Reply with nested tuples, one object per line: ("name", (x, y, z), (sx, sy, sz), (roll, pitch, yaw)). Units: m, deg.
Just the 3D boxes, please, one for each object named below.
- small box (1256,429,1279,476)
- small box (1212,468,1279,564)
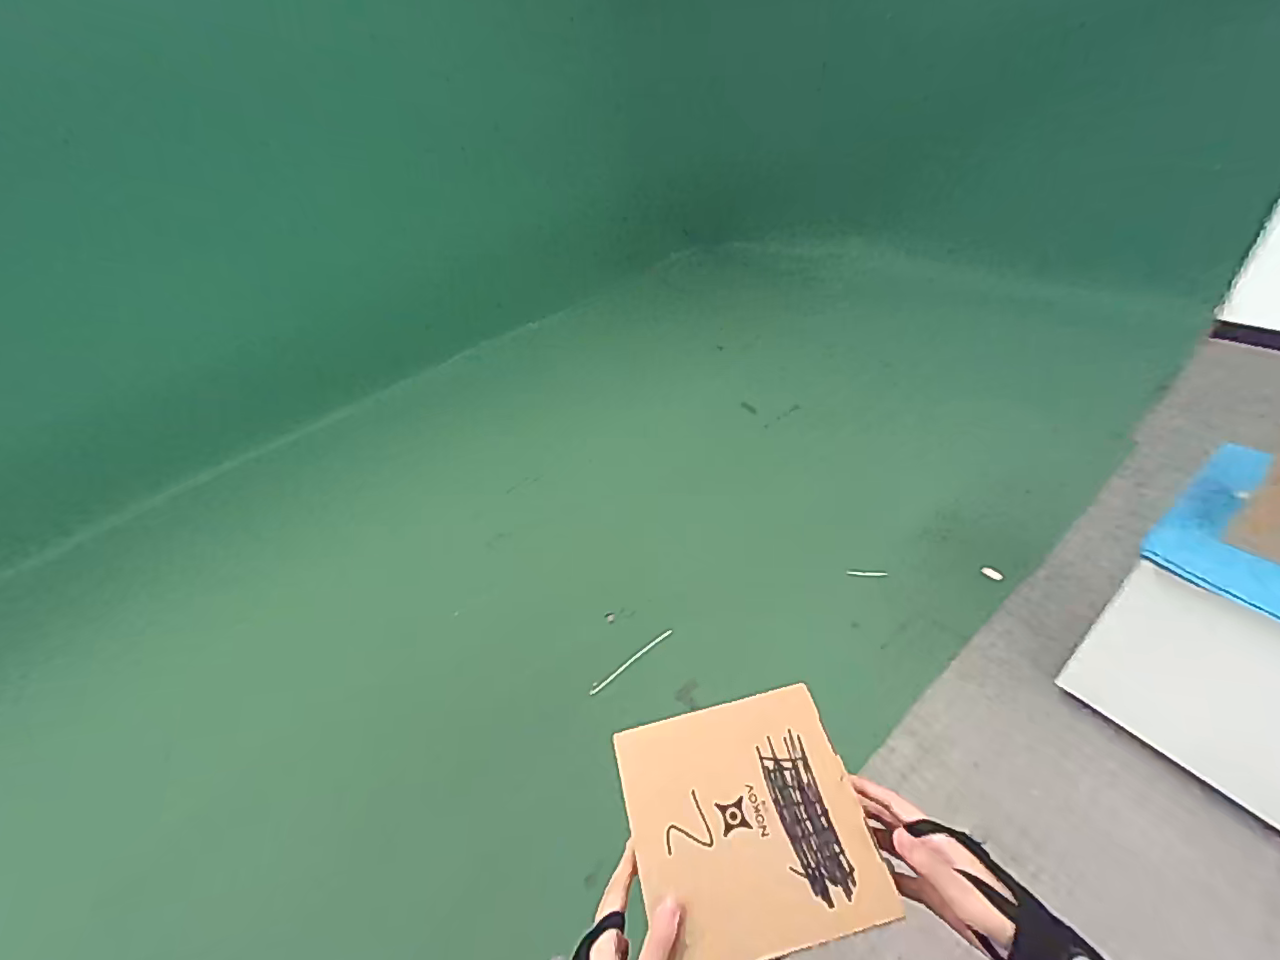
("small box", (1.146, -0.079, 0.841), (0.168, 0.176, 0.179), (-32, 45, -23))
("small box", (1.178, 0.046, 0.943), (0.168, 0.176, 0.179), (-32, 44, -23))
